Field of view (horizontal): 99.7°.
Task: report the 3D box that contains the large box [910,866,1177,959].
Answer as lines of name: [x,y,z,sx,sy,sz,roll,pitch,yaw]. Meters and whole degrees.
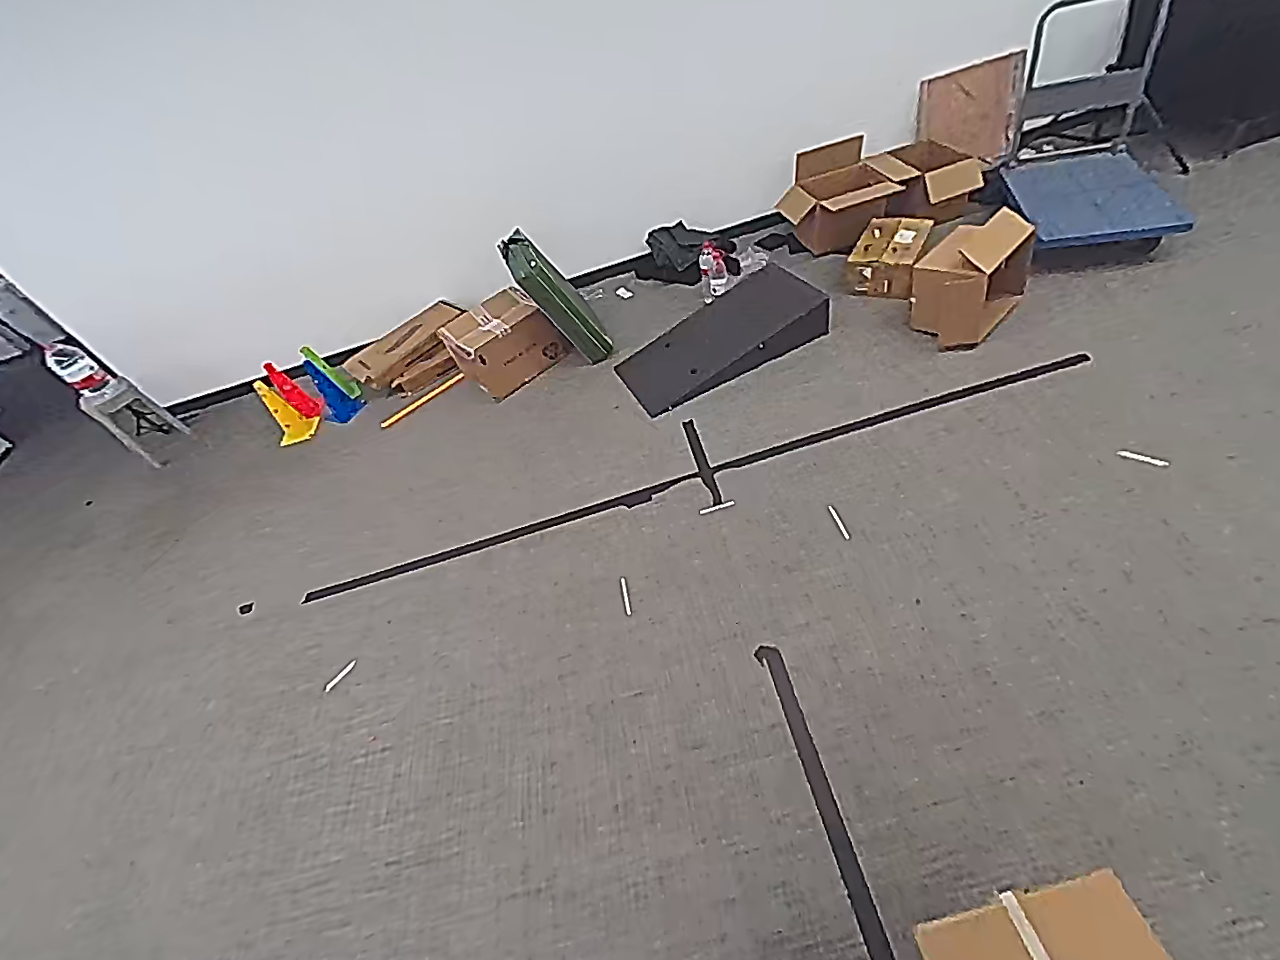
large box: [0.664,0.868,0.809,0.320,0.320,0.408,-23,47,6]
